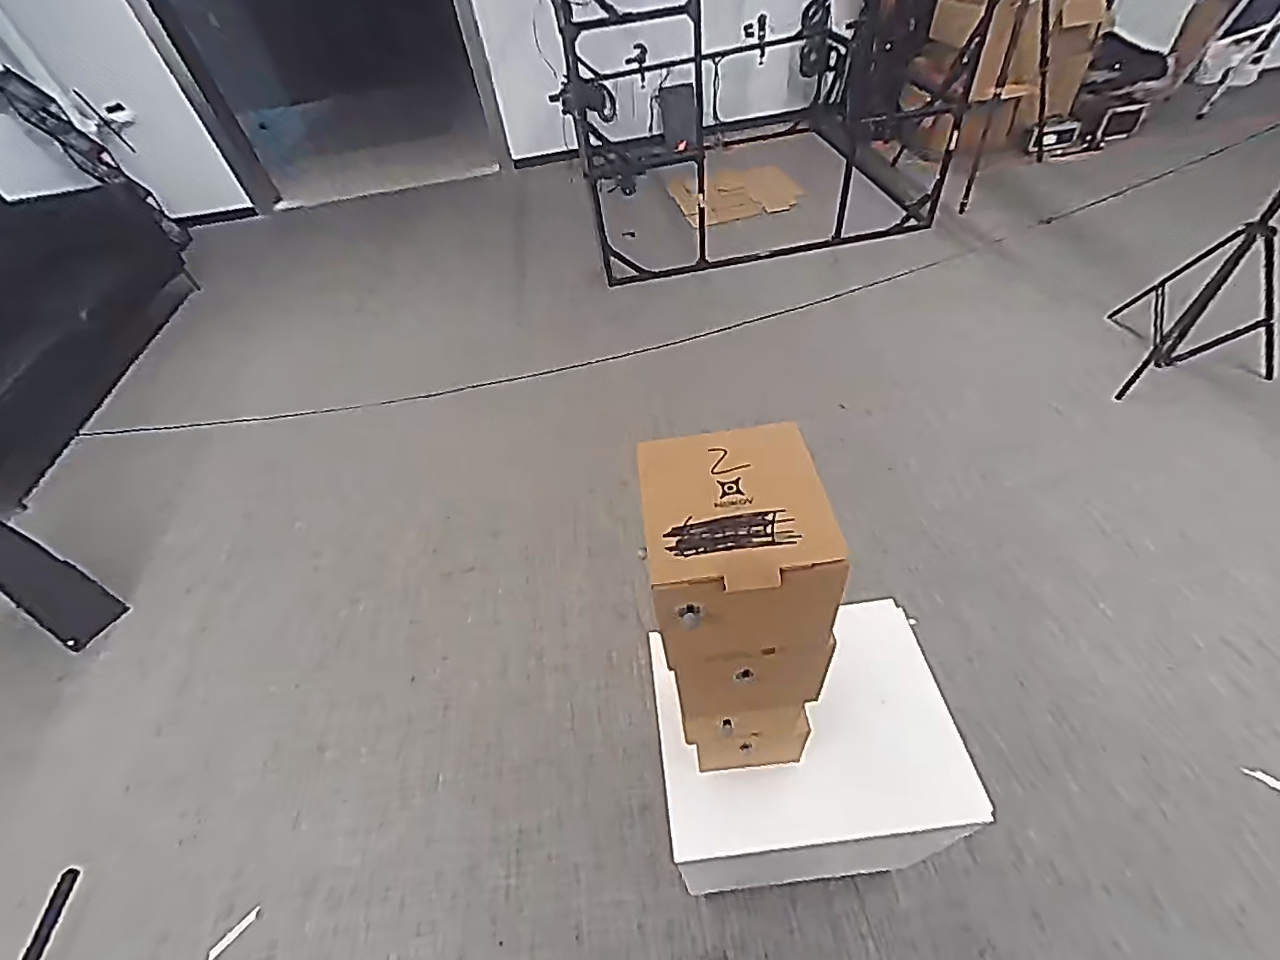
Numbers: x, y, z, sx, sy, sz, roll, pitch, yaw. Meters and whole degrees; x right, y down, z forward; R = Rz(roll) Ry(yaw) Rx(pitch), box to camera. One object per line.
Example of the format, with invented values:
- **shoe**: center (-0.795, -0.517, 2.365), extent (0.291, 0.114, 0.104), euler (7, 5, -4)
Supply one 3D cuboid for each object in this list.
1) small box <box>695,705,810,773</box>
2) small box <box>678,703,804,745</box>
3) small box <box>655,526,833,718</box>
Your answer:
- **small box**: center (0.174, 0.387, 0.926), extent (0.179, 0.176, 0.168), euler (-7, 48, 1)
- **small box**: center (0.139, 0.282, 0.807), extent (0.168, 0.176, 0.179), euler (-6, 47, 3)
- **small box**: center (0.121, 0.182, 0.676), extent (0.179, 0.176, 0.168), euler (-8, 48, 1)
